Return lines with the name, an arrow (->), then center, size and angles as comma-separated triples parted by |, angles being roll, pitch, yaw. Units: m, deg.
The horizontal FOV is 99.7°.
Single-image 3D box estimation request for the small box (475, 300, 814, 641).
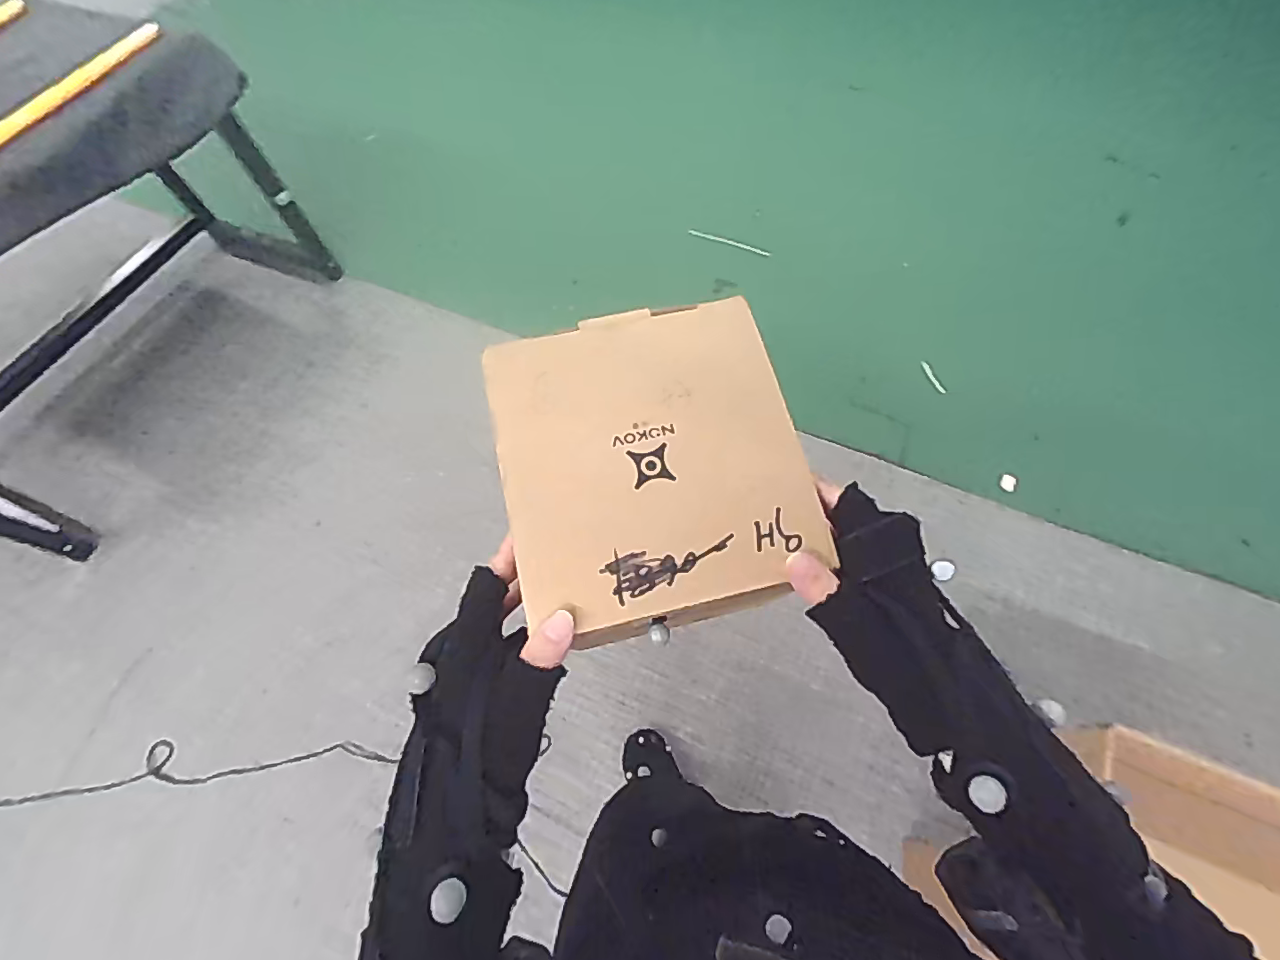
small box -> -0.004, 0.007, 0.386 | 0.168, 0.176, 0.179 | -13, 72, -4
